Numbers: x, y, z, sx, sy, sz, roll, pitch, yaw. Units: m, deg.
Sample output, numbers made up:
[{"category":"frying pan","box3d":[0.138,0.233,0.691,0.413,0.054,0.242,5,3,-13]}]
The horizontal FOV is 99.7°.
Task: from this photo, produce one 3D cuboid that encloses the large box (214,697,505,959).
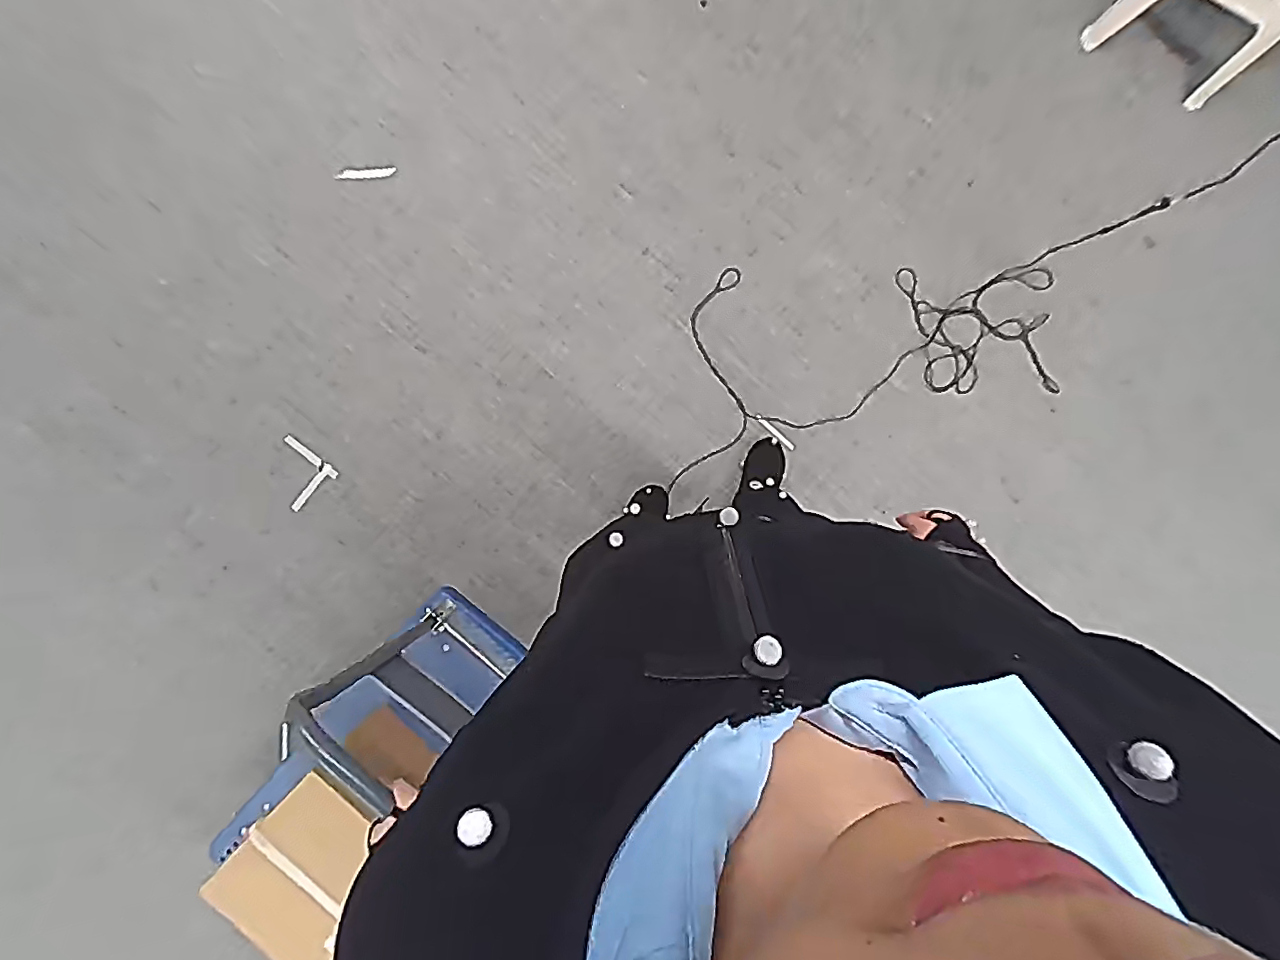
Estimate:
[{"category":"large box","box3d":[-0.573,0.769,1.185,0.408,0.320,0.320,43,90,-2]}]
